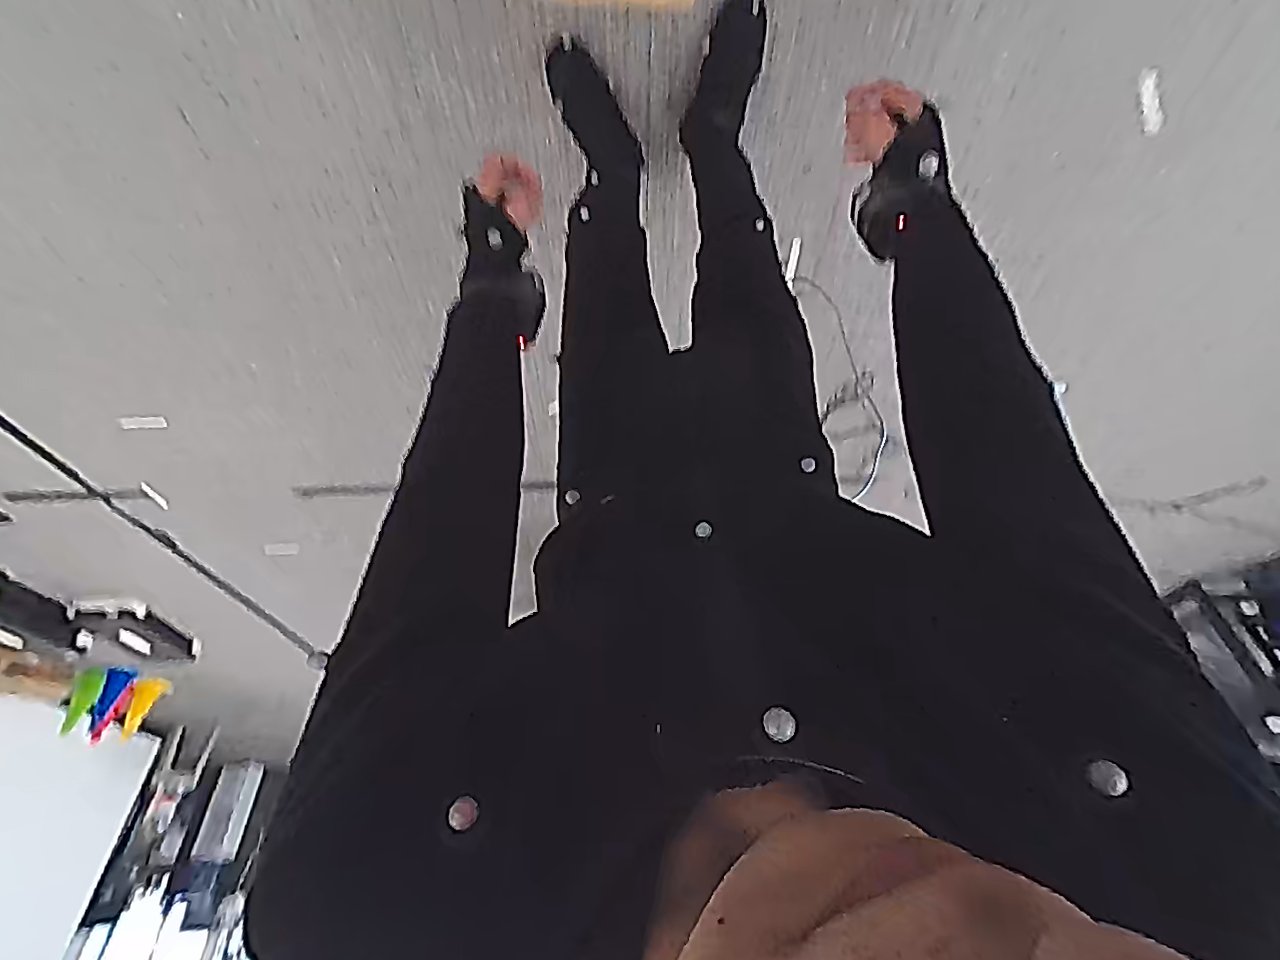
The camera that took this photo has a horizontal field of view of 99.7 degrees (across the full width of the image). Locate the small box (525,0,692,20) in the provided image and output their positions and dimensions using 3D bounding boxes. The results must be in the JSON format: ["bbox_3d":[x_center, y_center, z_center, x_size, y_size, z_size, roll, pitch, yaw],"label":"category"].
[{"bbox_3d":[-0.032,-0.606,0.553,0.179,0.176,0.168,0,144,-6],"label":"small box"}]
